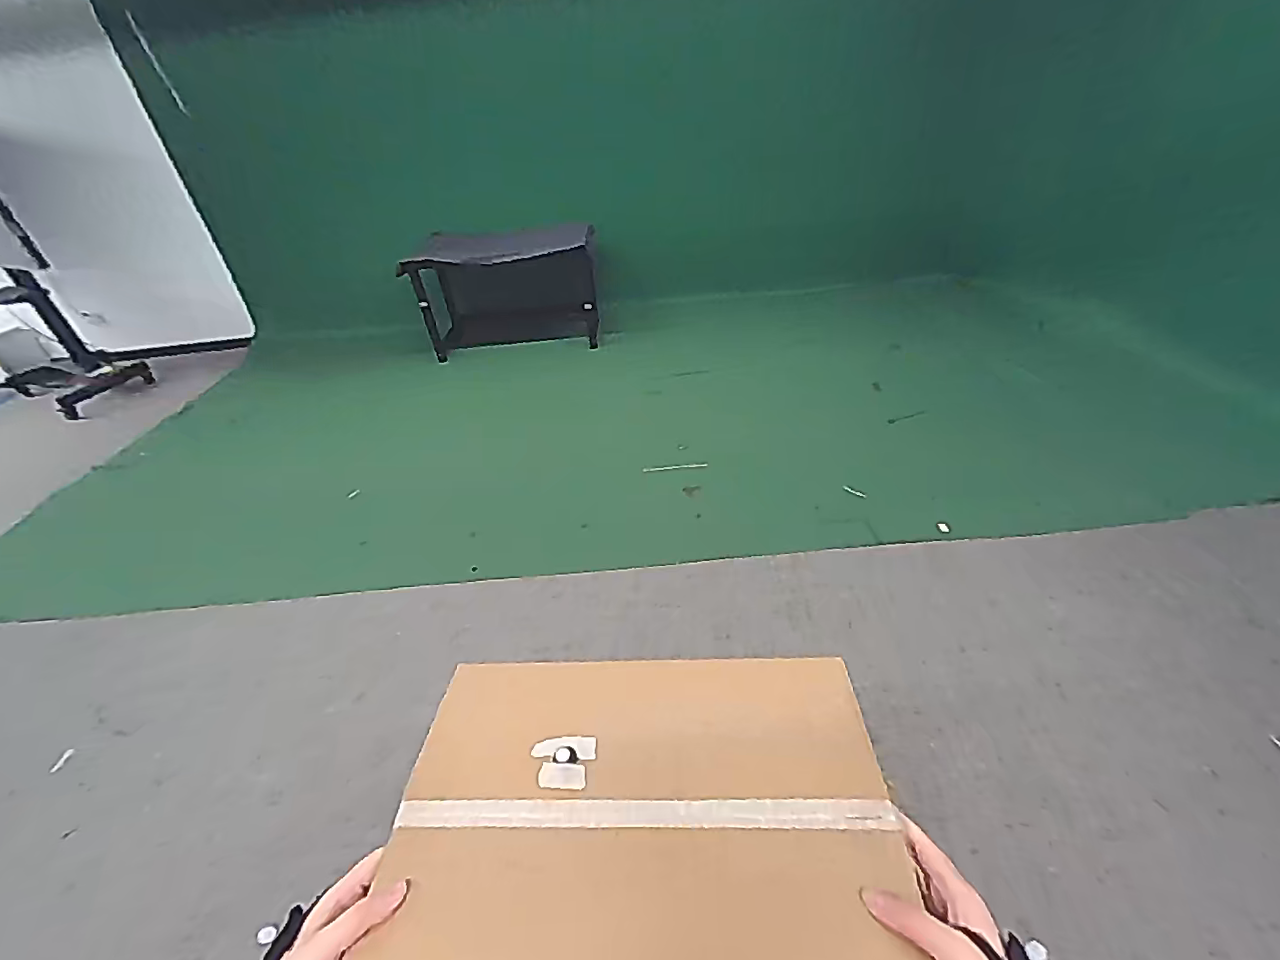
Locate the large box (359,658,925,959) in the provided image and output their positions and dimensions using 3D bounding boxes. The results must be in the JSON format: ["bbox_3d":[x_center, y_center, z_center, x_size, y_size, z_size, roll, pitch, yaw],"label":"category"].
[{"bbox_3d":[0.016,0.407,0.531,0.408,0.320,0.320,-4,33,7],"label":"large box"}]
